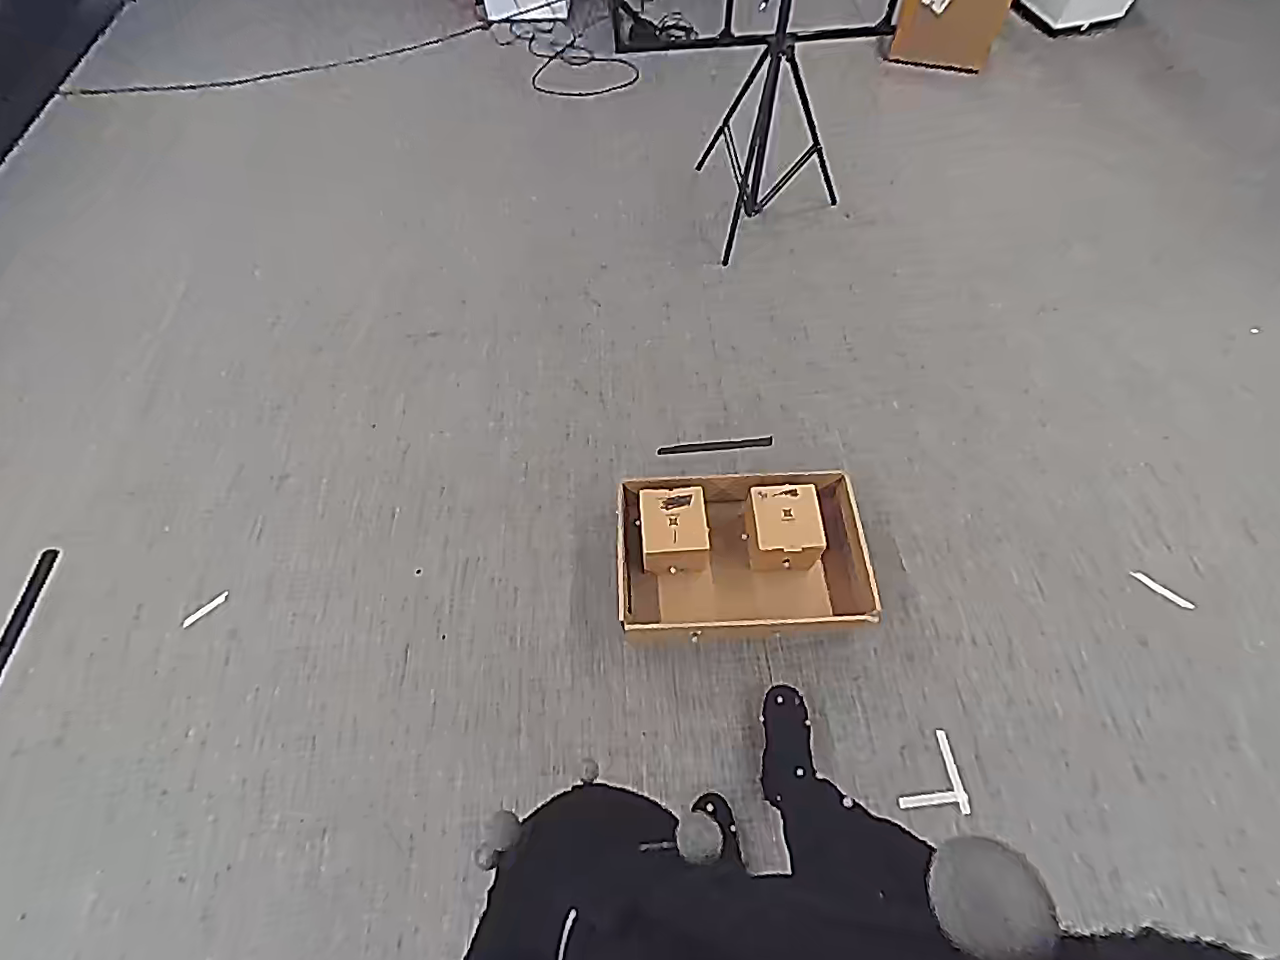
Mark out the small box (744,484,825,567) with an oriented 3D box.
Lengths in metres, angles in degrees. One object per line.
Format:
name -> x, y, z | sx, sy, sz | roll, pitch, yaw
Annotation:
small box -> 0.372, 0.126, 1.422 | 0.168, 0.176, 0.179 | -2, 63, 1
